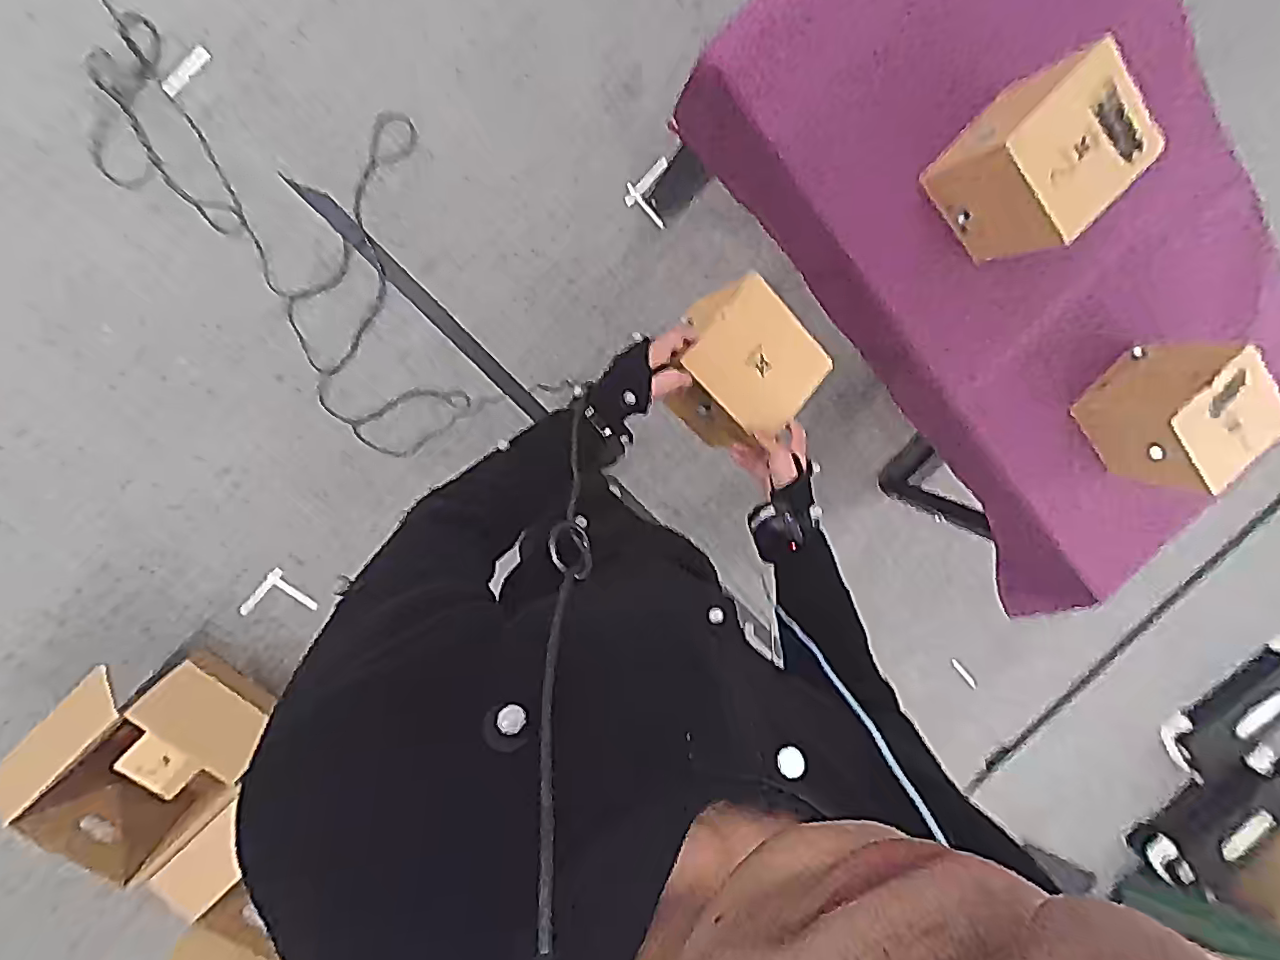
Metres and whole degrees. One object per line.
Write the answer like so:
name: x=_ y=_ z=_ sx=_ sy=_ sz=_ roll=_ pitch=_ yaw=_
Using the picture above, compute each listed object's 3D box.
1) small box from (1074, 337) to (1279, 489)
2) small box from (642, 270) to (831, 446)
small box: x=0.885 y=-0.114 z=0.898 sx=0.168 sy=0.176 sz=0.179 roll=-45 pitch=107 yaw=4
small box: x=0.132 y=-0.169 z=0.796 sx=0.179 sy=0.176 sz=0.168 roll=41 pitch=82 yaw=-17
